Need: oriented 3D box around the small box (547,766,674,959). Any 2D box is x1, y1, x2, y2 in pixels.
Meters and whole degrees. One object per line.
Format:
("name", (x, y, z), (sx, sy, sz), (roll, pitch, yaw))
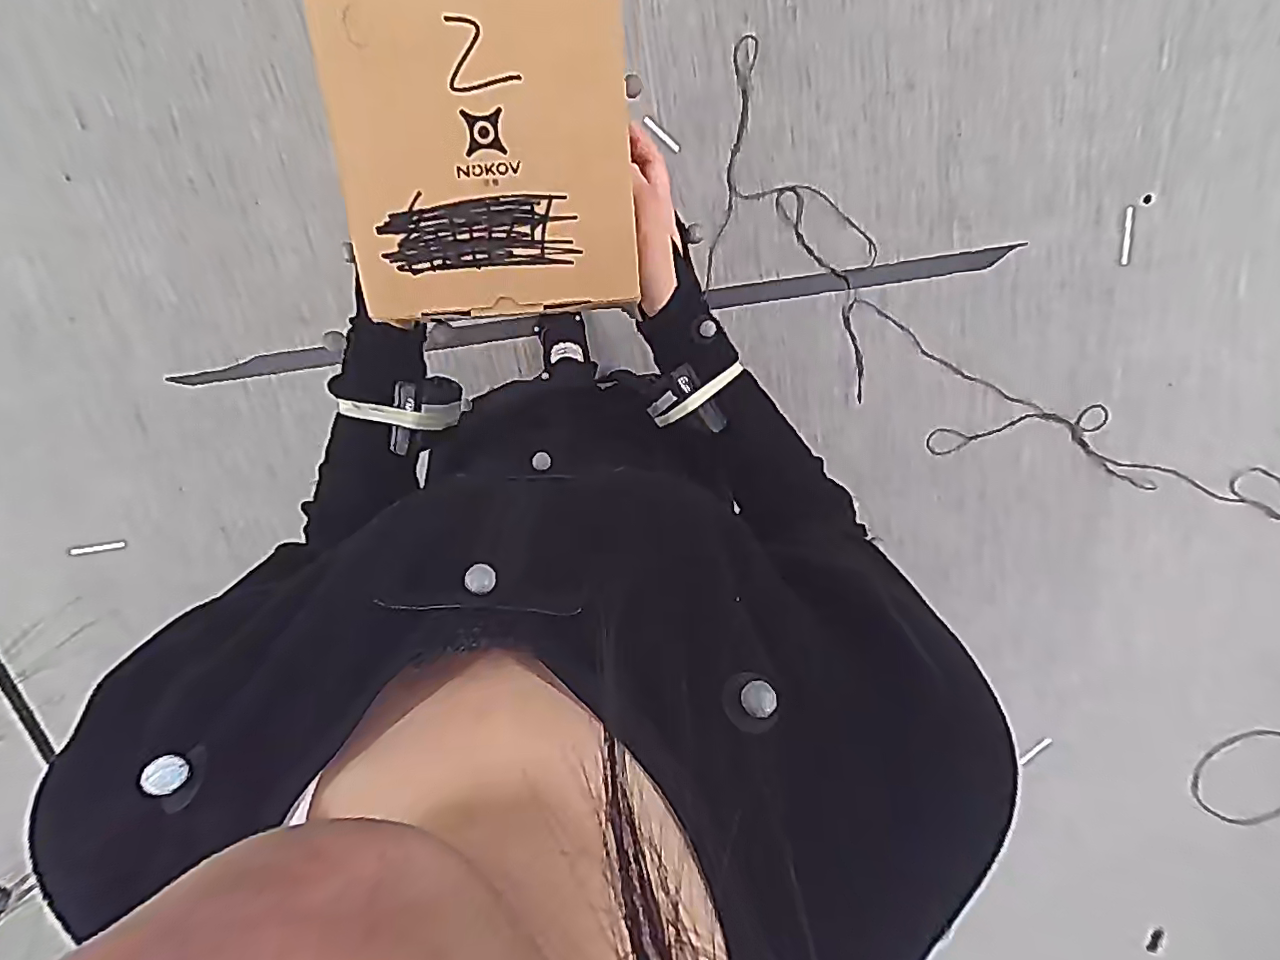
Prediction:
("small box", (-0.043, 0.582, 0.835), (0.168, 0.176, 0.179), (-7, 106, -2))
